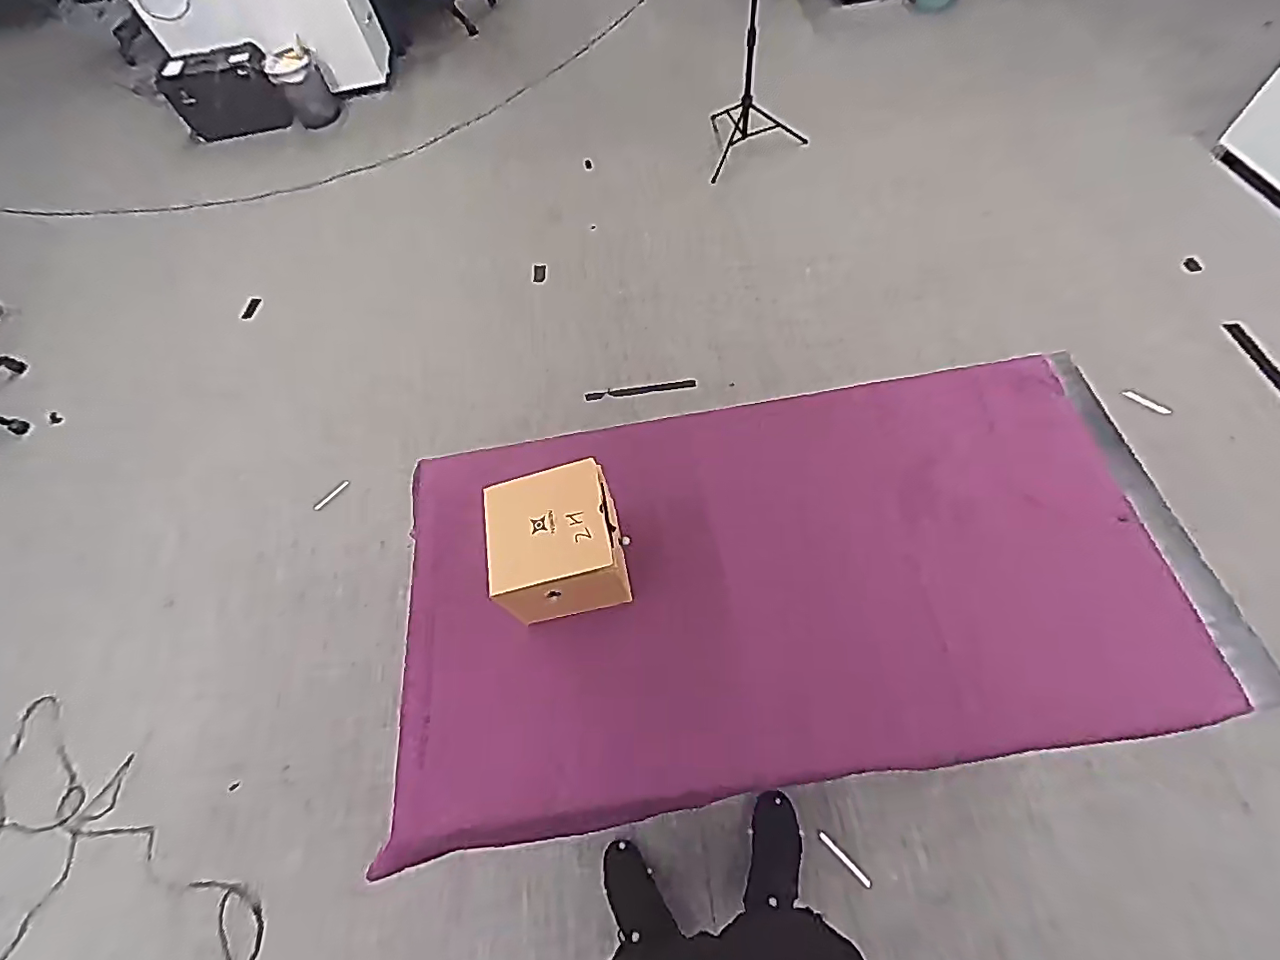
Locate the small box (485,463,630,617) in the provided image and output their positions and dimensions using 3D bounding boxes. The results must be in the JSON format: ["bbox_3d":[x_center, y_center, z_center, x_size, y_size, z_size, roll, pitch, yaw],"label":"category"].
[{"bbox_3d":[-0.120,0.098,0.819,0.179,0.176,0.168,-11,63,0],"label":"small box"}]
